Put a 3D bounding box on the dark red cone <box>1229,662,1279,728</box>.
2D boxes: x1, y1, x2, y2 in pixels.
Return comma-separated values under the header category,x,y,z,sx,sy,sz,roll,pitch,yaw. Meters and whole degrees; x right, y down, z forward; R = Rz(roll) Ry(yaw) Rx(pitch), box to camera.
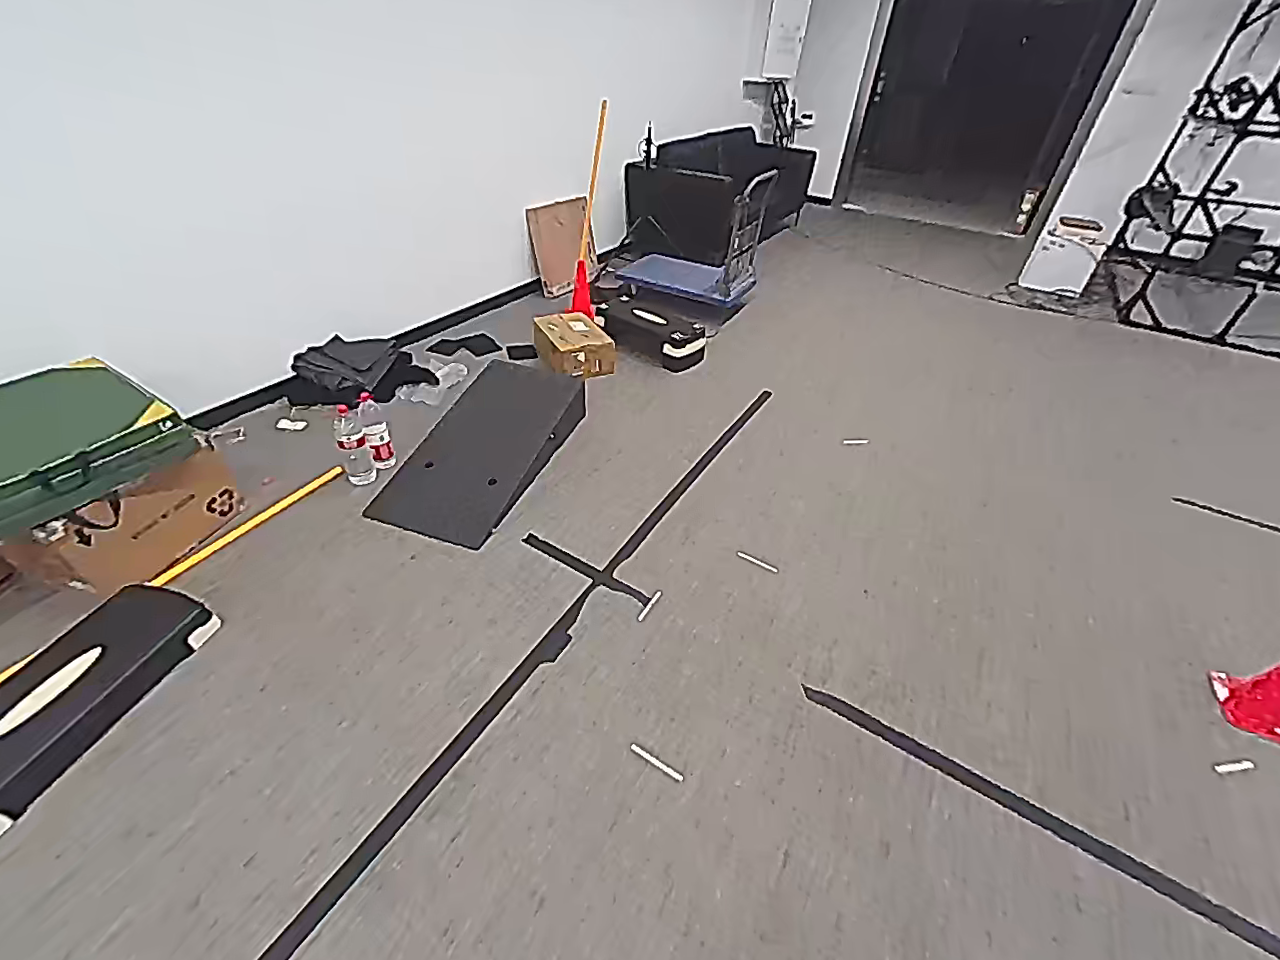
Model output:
category,x,y,z,sx,sy,sz,roll,pitch,yaw
dark red cone,1.823,0.505,1.430,0.202,0.394,0.201,18,42,17
